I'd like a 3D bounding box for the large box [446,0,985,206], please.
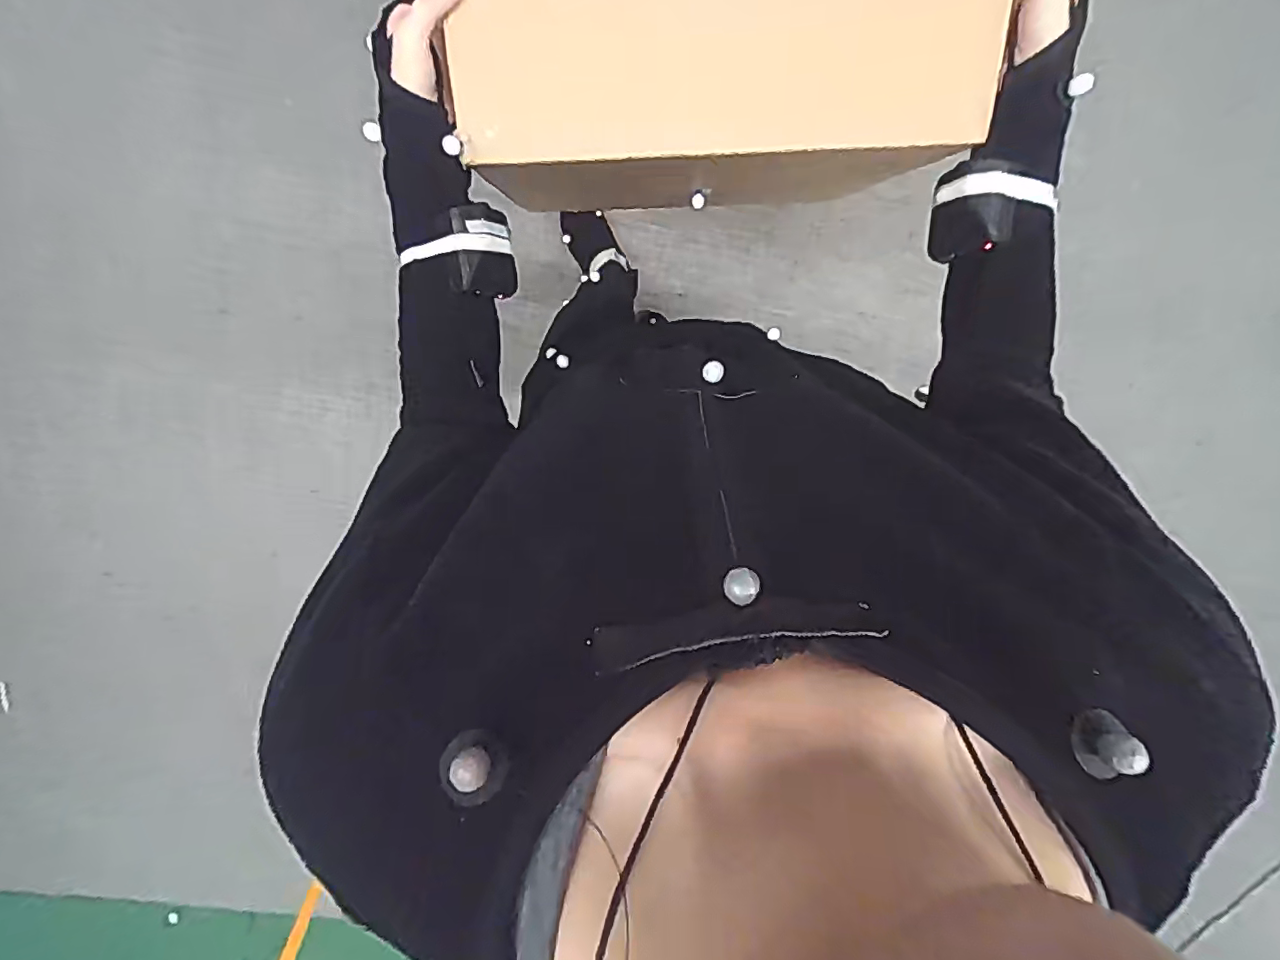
[{"bbox_3d":[0.052,-0.458,0.514,0.408,0.320,0.320,-3,110,0],"label":"large box"}]
